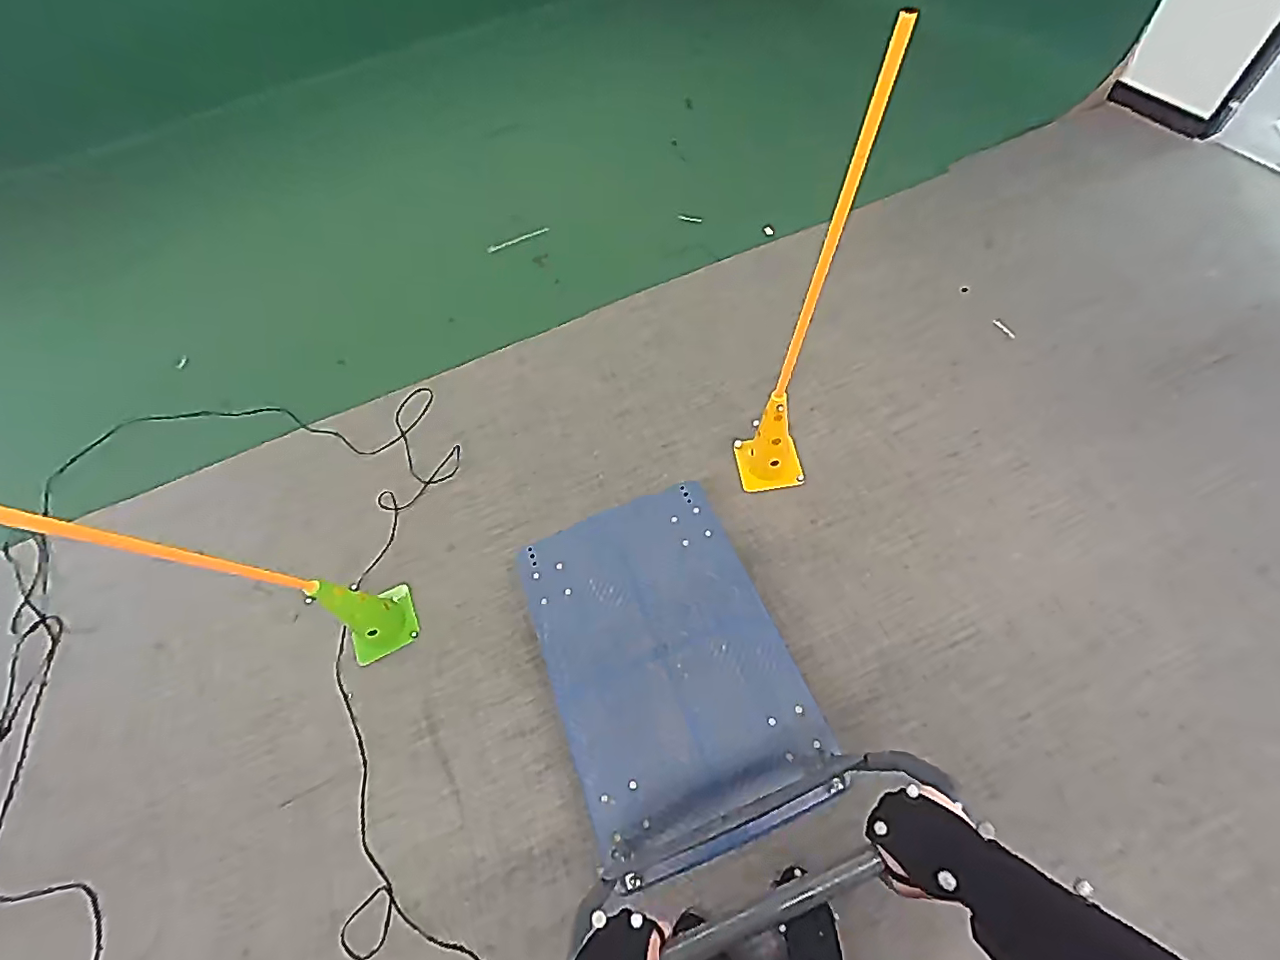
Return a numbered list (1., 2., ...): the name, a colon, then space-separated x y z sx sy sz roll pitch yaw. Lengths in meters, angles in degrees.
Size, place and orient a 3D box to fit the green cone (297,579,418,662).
1. green cone: -0.825 0.353 1.531 0.202 0.368 0.200 -28 60 -6
